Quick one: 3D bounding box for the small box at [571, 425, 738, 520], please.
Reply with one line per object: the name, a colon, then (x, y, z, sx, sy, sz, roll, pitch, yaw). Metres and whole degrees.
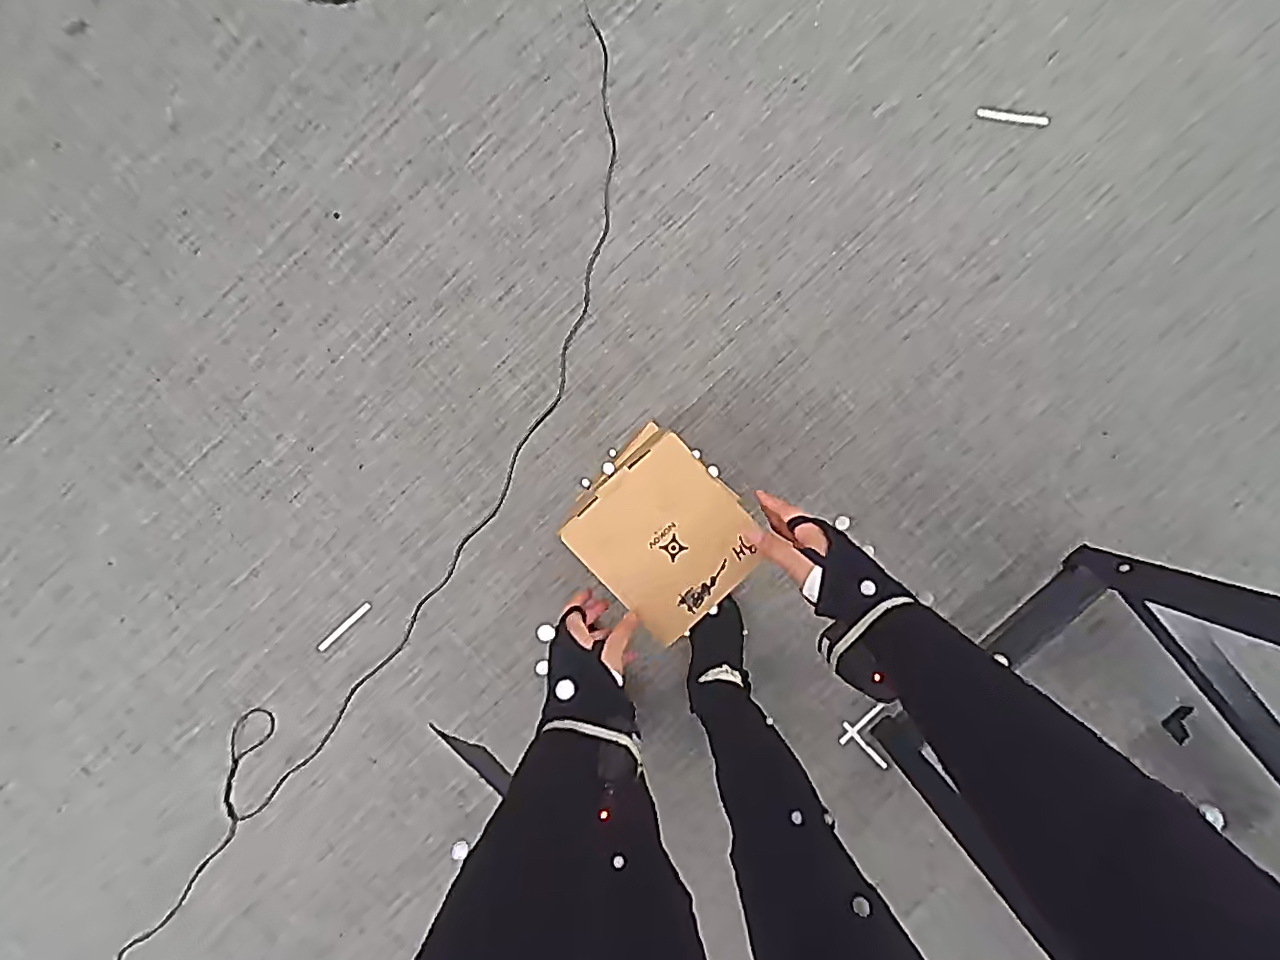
small box: (0.019, 0.036, 0.821, 0.168, 0.176, 0.179, 40, 92, -5)

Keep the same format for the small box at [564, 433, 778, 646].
small box: (0.031, 0.061, 0.659, 0.168, 0.176, 0.179, -43, 94, 2)
